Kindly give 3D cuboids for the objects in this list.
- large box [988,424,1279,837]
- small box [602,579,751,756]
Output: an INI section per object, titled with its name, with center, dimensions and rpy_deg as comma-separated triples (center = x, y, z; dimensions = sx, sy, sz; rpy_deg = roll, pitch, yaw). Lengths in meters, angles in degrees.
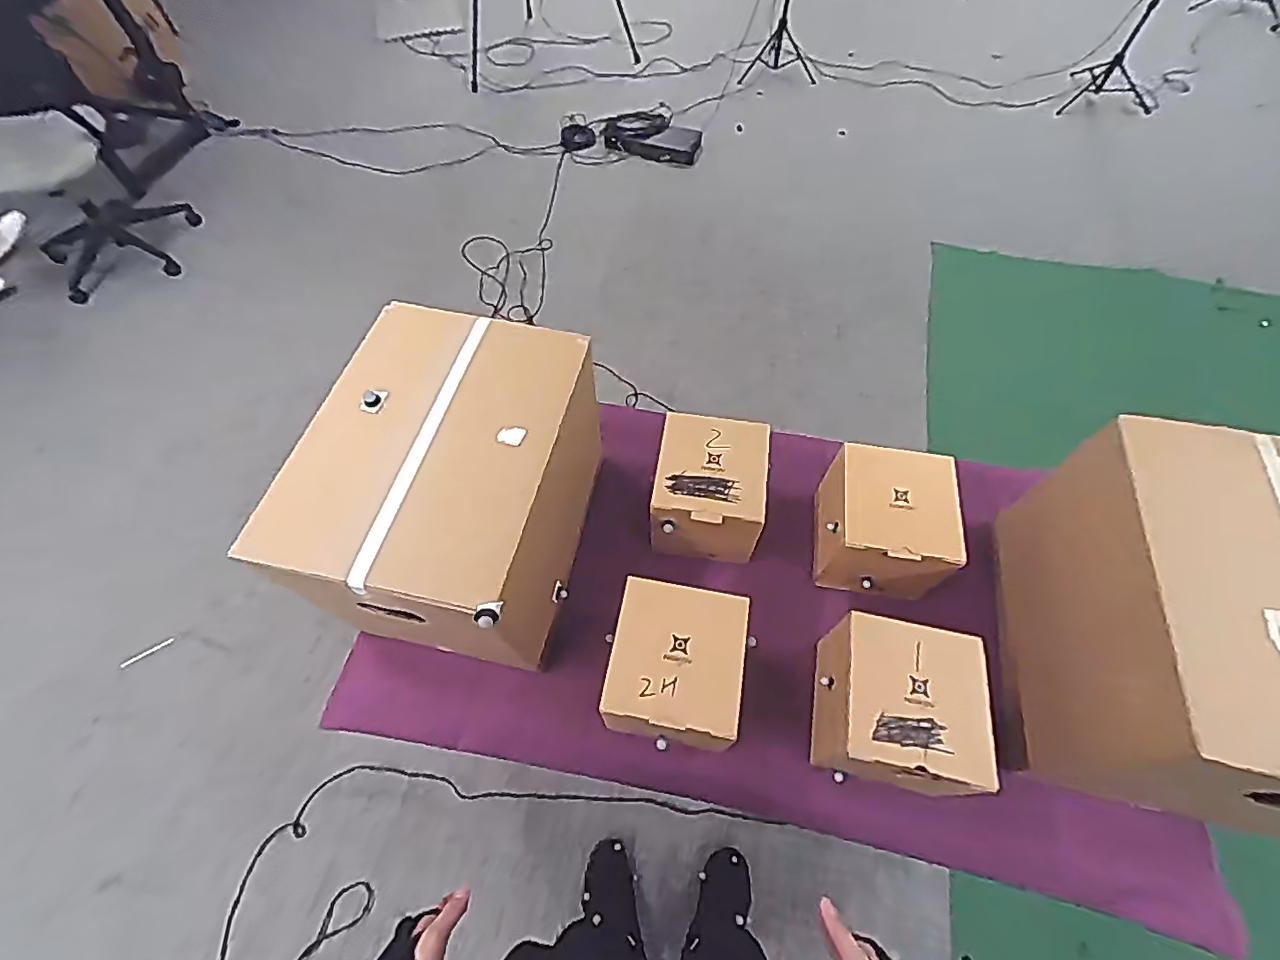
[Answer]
[large box]
center = 0.702, 0.196, 0.695
dimensions = 0.320, 0.320, 0.408
rpy_deg = 11, 61, 8
[small box]
center = 0.050, 0.259, 0.738
dimensions = 0.168, 0.176, 0.179
rpy_deg = 9, 59, 7
